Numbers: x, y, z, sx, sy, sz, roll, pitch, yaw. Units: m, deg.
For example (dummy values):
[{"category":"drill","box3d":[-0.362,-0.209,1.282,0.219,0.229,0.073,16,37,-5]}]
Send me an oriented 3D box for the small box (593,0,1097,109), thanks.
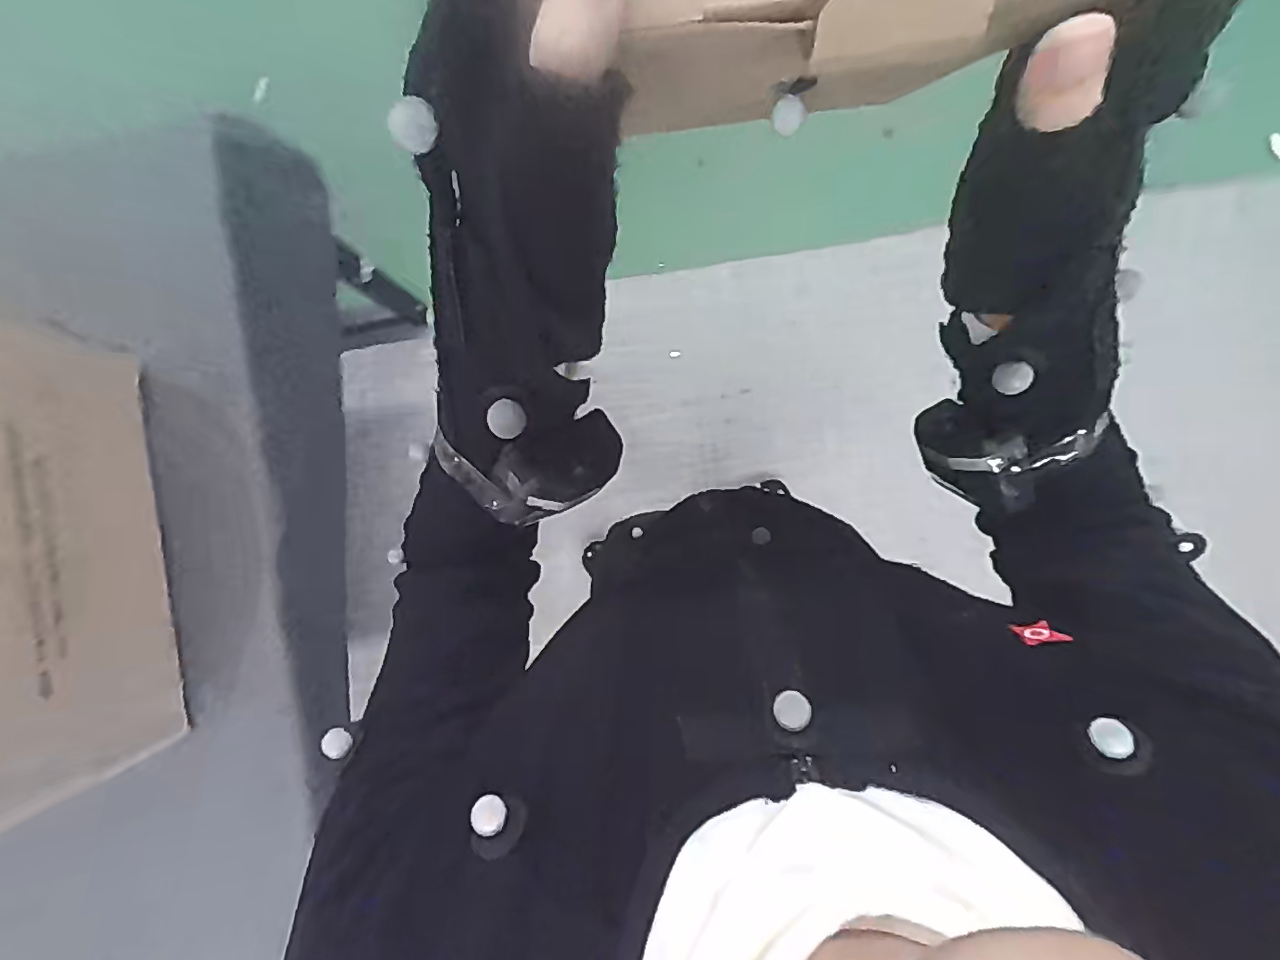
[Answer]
[{"category":"small box","box3d":[0.059,-0.242,0.181,0.168,0.176,0.179,-7,116,0]}]
